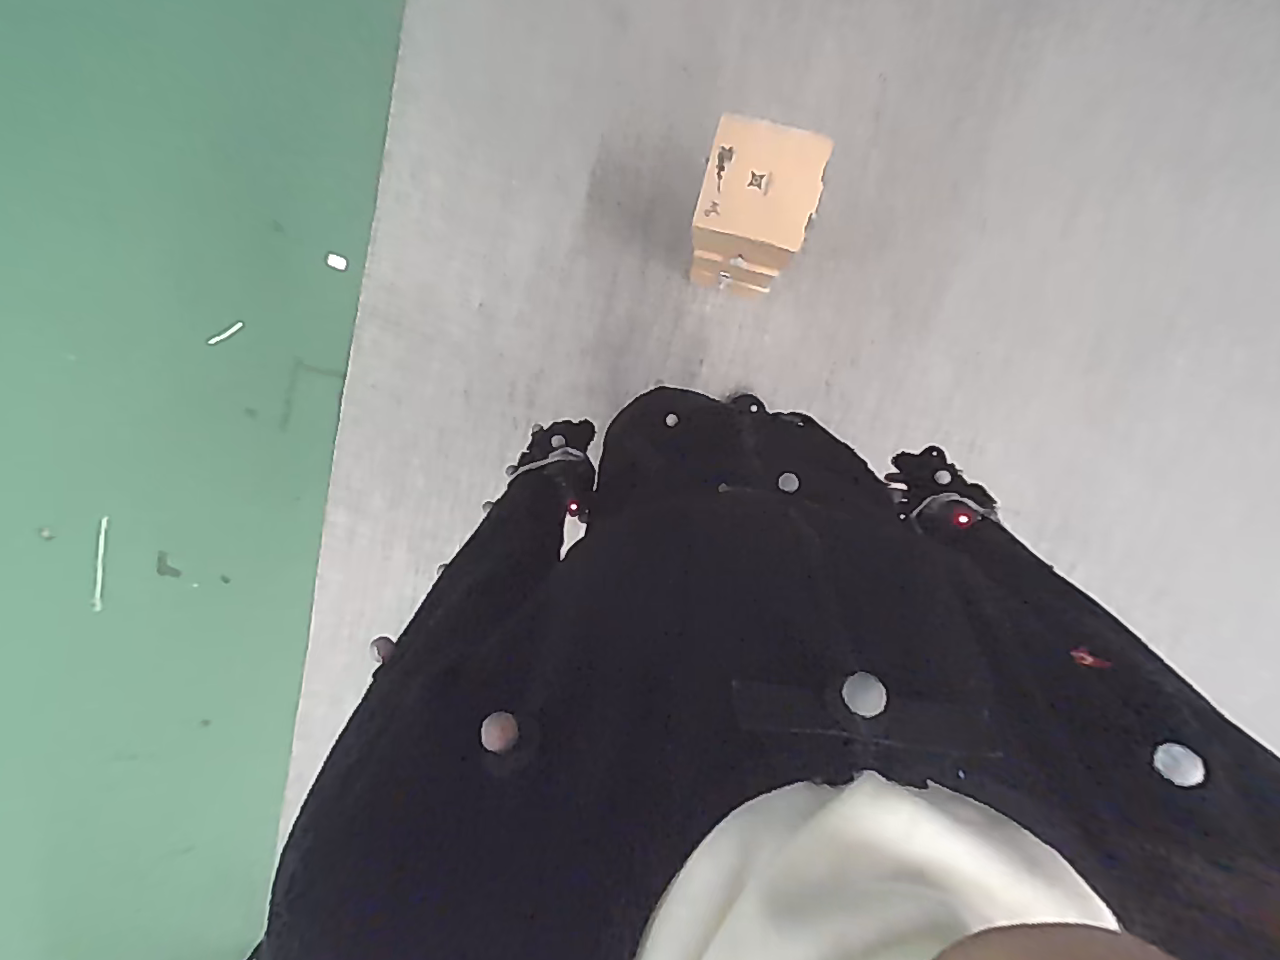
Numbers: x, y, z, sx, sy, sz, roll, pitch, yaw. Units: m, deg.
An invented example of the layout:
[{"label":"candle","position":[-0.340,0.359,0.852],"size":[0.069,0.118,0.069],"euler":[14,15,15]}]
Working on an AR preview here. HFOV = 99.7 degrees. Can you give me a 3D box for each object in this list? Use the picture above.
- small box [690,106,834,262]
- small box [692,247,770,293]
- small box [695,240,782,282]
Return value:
[{"label":"small box","position":[0.191,-0.475,0.897],"size":[0.179,0.176,0.168],"euler":[17,104,3]},{"label":"small box","position":[0.224,-0.531,1.215],"size":[0.179,0.176,0.168],"euler":[18,104,1]},{"label":"small box","position":[0.209,-0.505,1.057],"size":[0.168,0.176,0.179],"euler":[16,105,4]}]
